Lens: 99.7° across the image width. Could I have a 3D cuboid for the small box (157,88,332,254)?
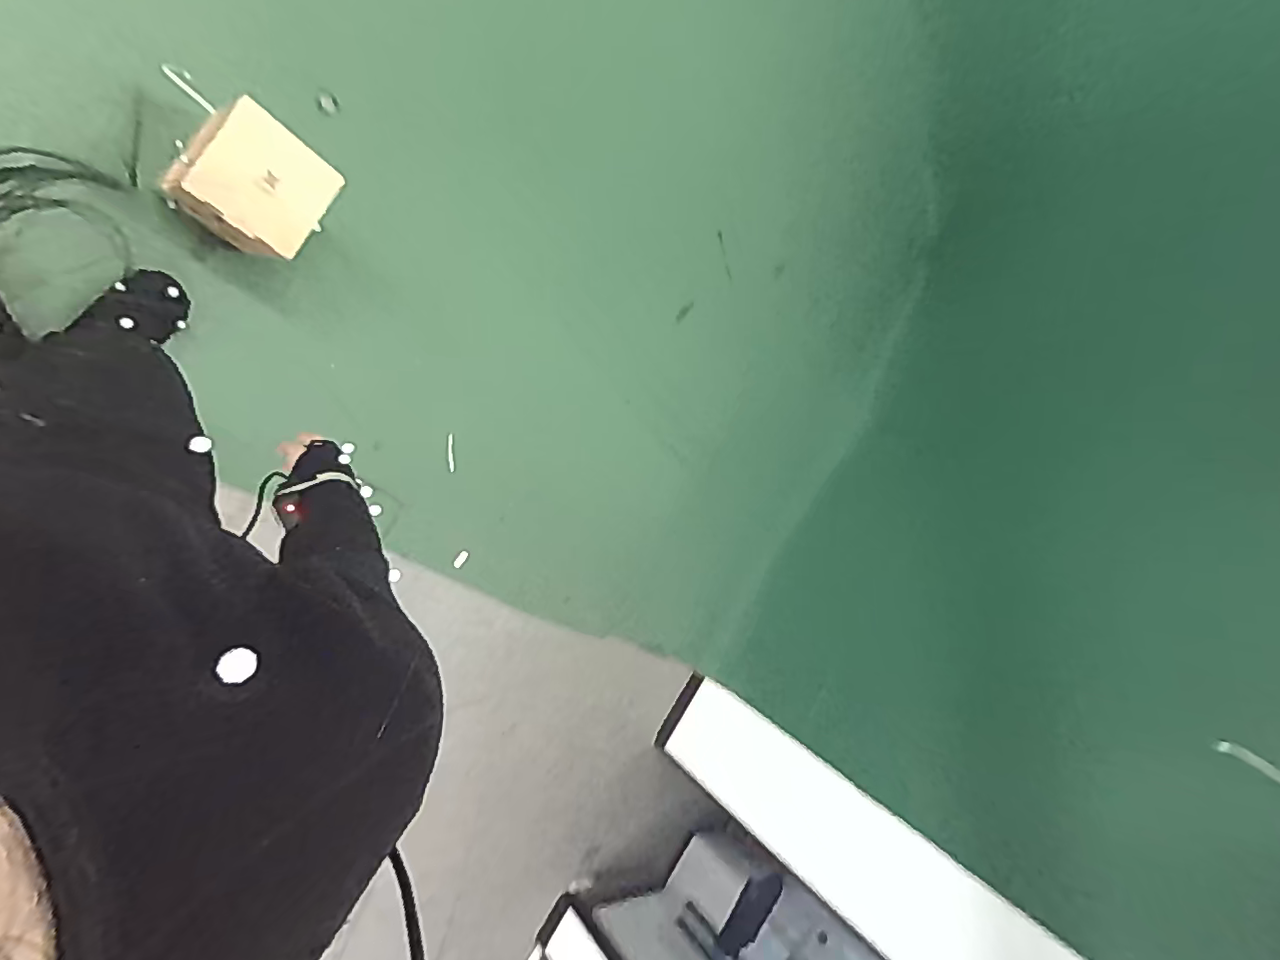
[{"bbox_3d":[-0.674,-0.517,0.918,0.179,0.176,0.168,-59,140,-6],"label":"small box"}]
